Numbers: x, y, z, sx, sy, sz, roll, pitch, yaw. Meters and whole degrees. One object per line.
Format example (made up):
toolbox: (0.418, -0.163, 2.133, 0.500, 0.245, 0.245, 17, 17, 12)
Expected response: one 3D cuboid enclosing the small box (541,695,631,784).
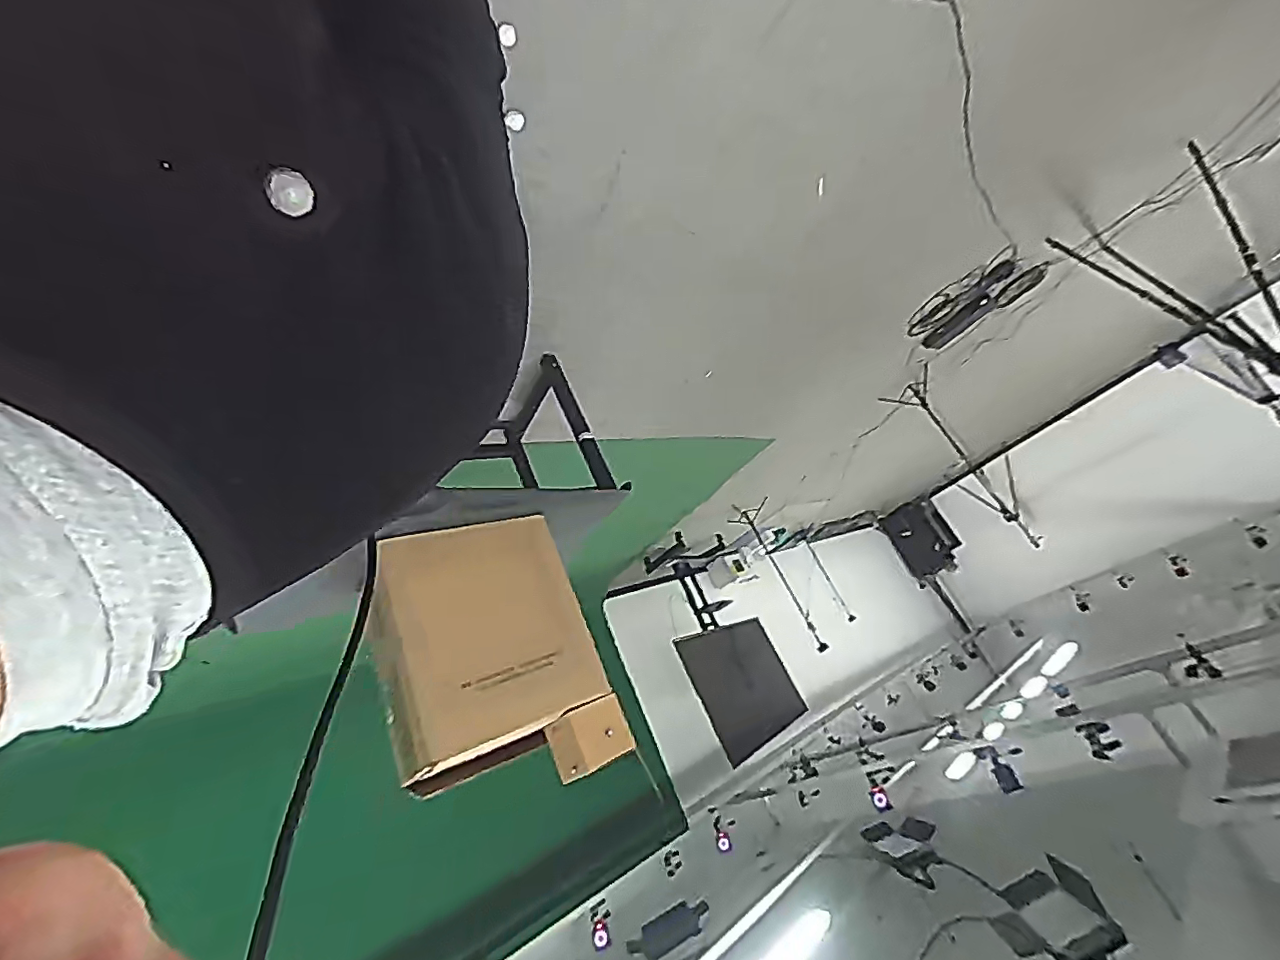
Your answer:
small box: (-0.165, 0.767, 1.613, 0.179, 0.176, 0.168, -7, 150, -44)
